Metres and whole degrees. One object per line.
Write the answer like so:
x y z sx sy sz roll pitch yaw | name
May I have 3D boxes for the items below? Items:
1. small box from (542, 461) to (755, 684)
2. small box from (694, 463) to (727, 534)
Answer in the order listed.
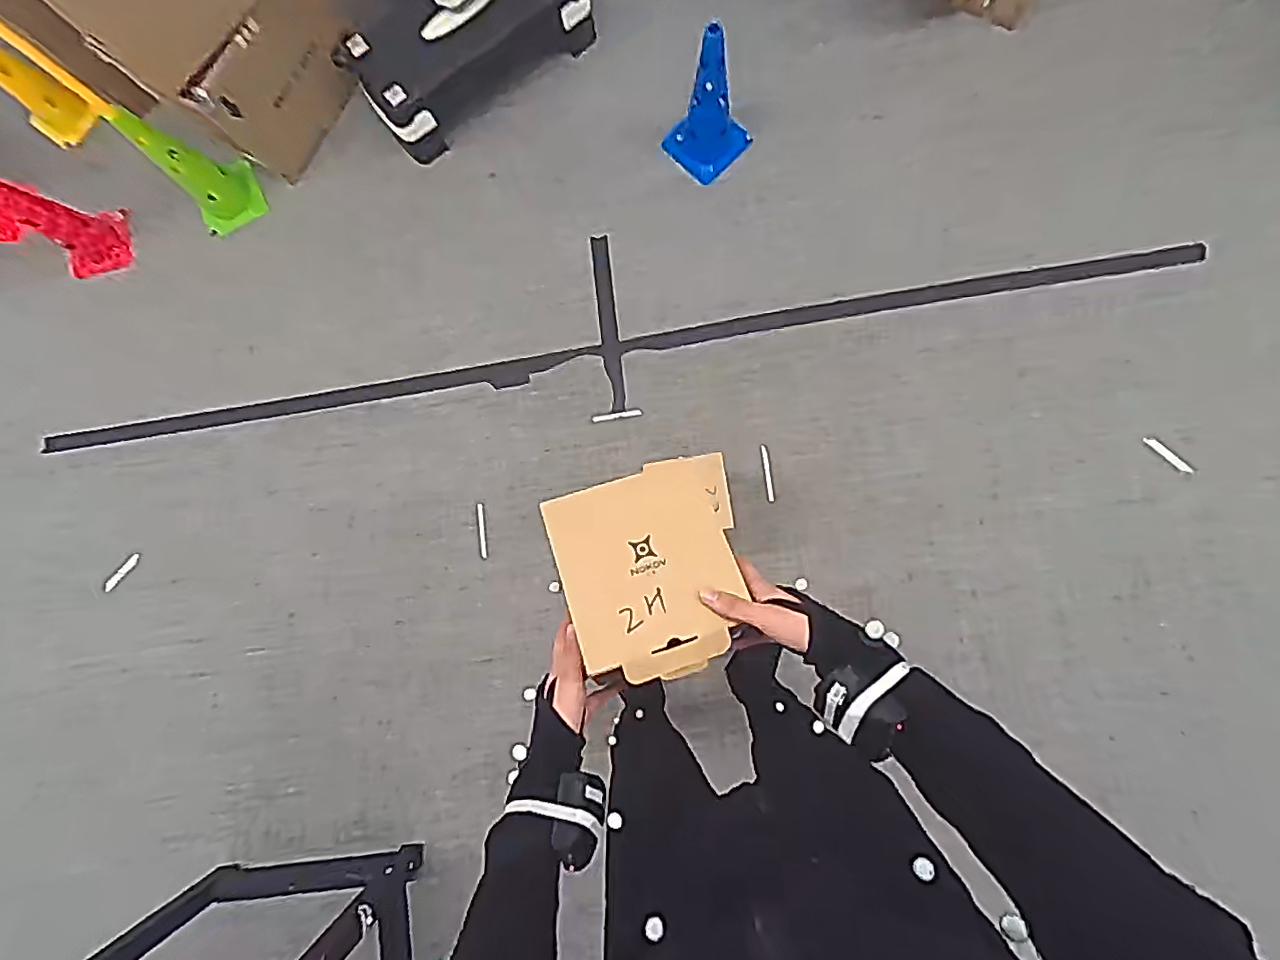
0.002 0.108 0.590 0.168 0.176 0.179 -17 68 -8 | small box
0.122 0.066 1.381 0.168 0.176 0.179 -12 83 3 | small box
